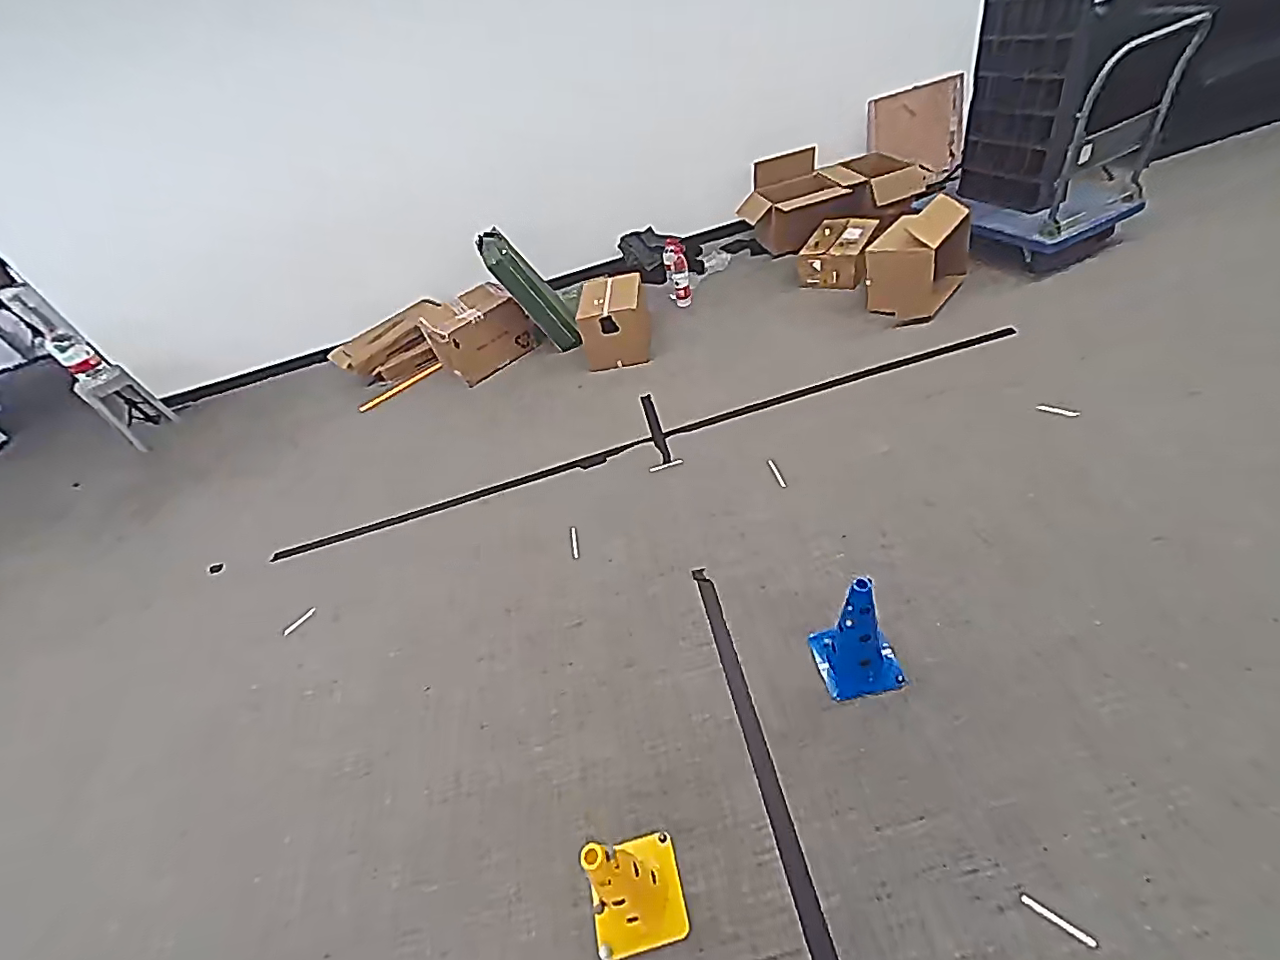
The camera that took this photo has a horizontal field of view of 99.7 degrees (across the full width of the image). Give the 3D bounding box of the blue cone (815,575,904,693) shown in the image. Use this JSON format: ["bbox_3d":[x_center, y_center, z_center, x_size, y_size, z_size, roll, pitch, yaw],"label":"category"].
[{"bbox_3d":[0.553,0.363,1.358,0.192,0.380,0.193,-13,42,4],"label":"blue cone"}]
